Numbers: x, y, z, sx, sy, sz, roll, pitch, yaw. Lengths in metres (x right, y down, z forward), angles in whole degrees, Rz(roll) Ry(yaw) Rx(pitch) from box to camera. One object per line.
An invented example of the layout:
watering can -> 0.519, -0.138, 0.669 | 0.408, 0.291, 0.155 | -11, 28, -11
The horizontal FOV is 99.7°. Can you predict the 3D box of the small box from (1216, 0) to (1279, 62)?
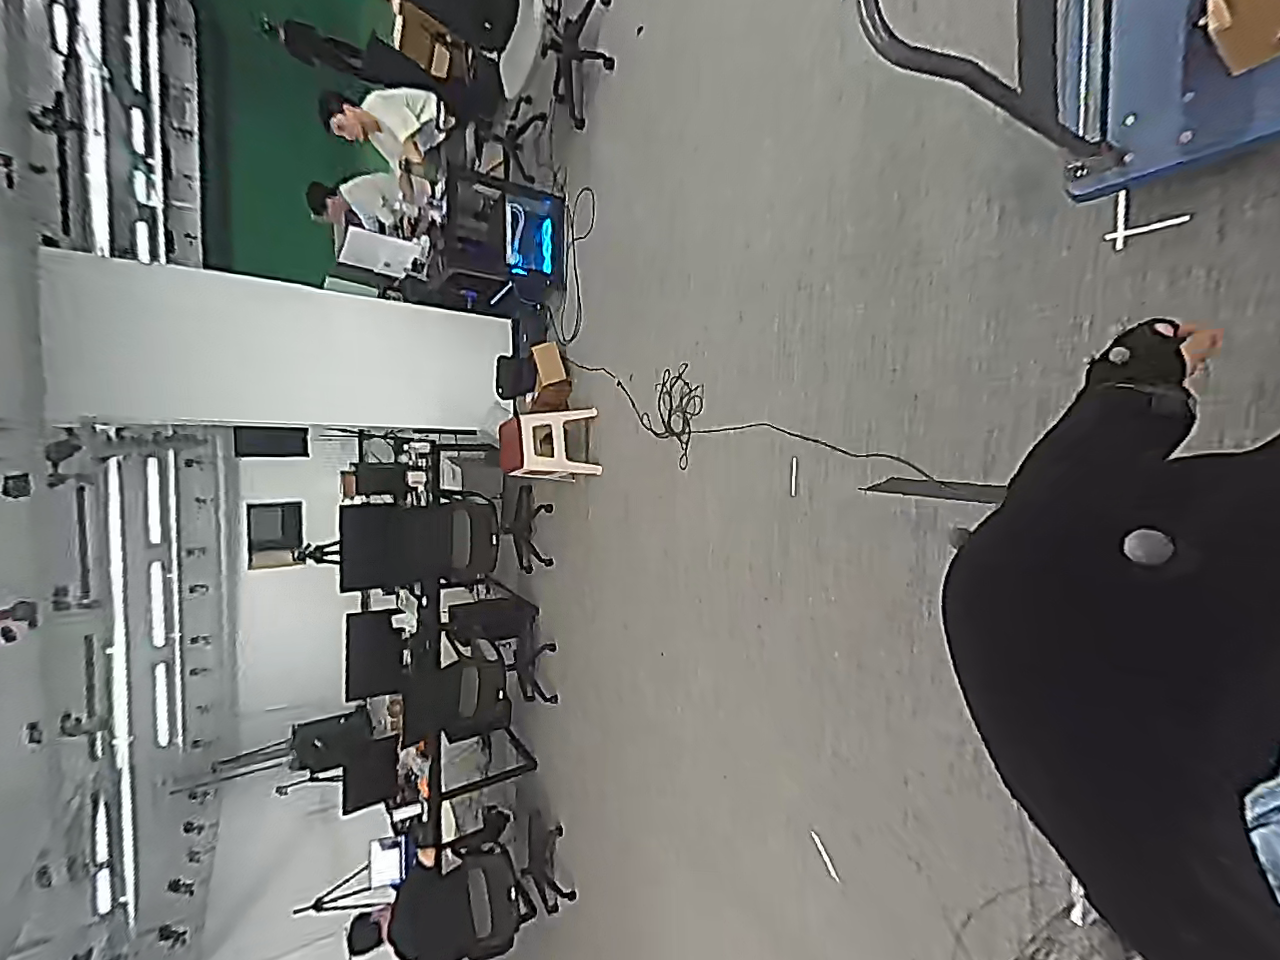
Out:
small box -> 0.983, -0.779, 0.797 | 0.168, 0.176, 0.179 | -2, 91, 56
